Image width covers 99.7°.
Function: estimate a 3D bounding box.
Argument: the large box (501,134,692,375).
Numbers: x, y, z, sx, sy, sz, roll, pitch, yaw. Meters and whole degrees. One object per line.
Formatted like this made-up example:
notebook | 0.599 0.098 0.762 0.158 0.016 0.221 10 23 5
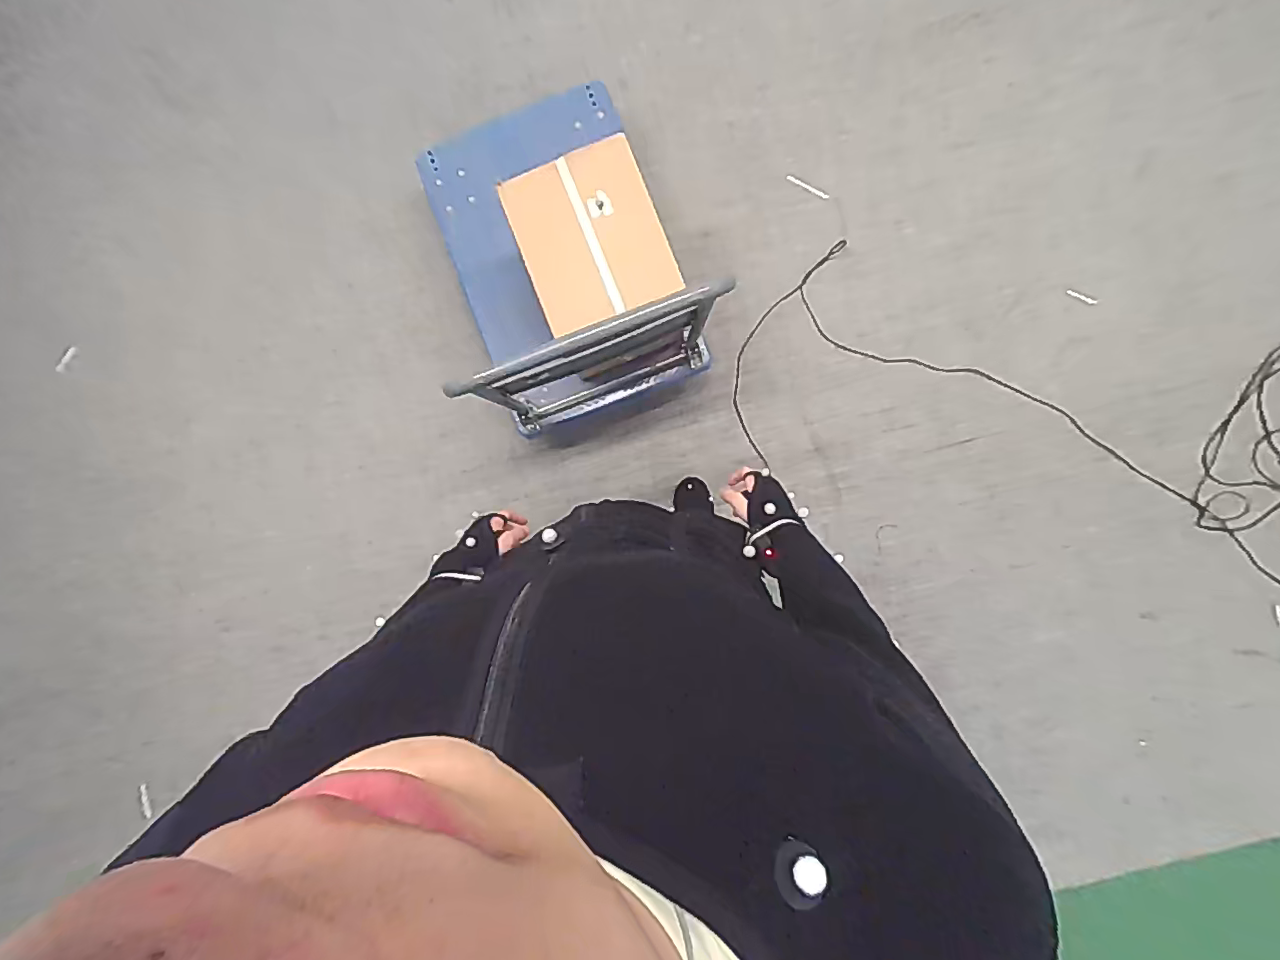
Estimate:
large box | -0.091 -0.529 1.346 0.320 0.320 0.408 -22 88 1
